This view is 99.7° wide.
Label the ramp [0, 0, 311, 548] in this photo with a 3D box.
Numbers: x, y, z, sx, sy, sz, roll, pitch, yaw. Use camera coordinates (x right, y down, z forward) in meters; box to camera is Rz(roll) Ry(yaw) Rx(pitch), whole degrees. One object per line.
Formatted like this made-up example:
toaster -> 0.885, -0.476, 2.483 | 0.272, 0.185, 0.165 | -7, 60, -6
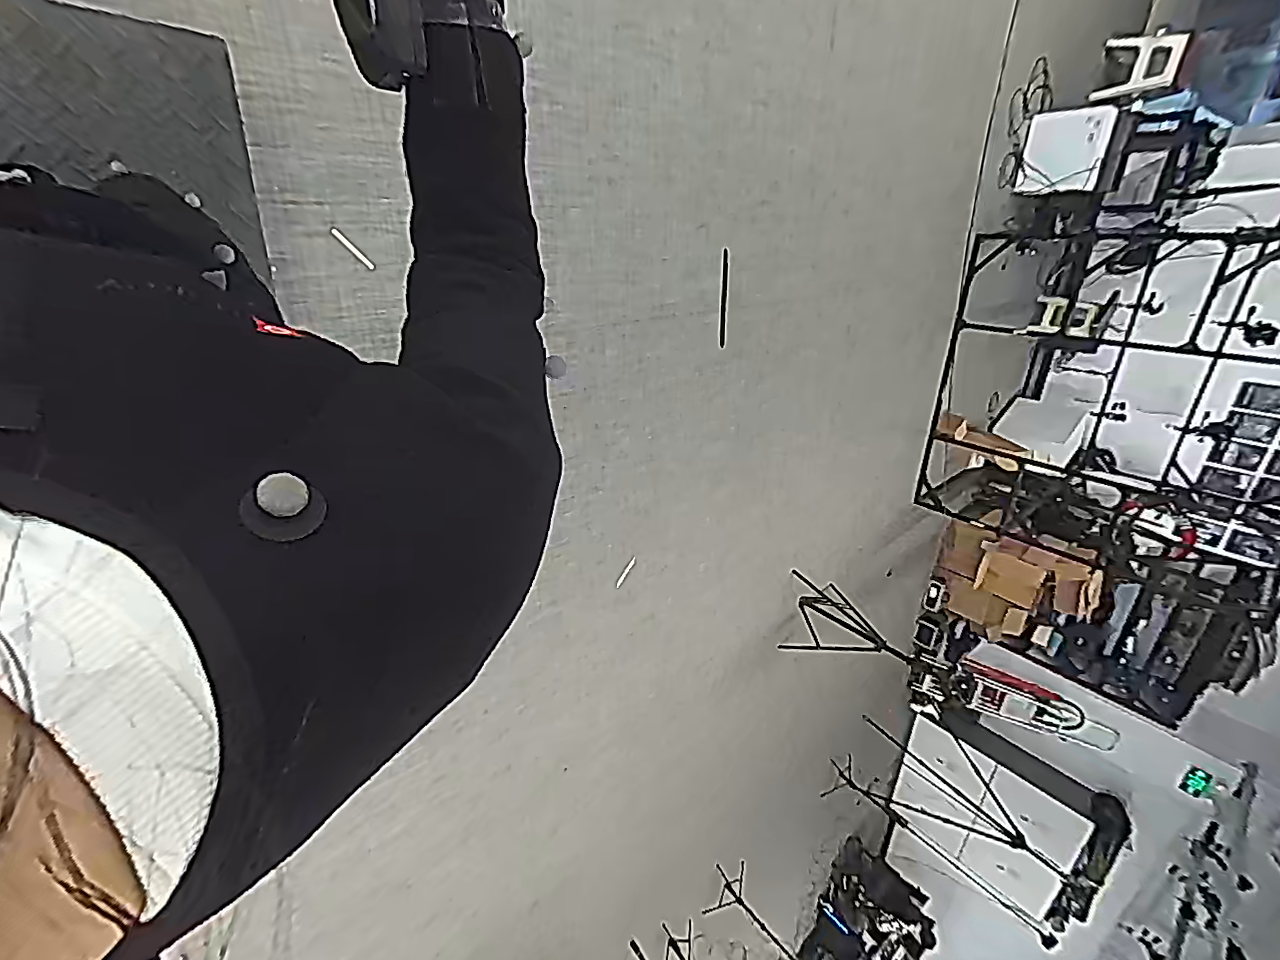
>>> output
ramp -> -1.004, -0.325, 1.072 | 0.509, 0.206, 0.991 | -19, 122, -37
